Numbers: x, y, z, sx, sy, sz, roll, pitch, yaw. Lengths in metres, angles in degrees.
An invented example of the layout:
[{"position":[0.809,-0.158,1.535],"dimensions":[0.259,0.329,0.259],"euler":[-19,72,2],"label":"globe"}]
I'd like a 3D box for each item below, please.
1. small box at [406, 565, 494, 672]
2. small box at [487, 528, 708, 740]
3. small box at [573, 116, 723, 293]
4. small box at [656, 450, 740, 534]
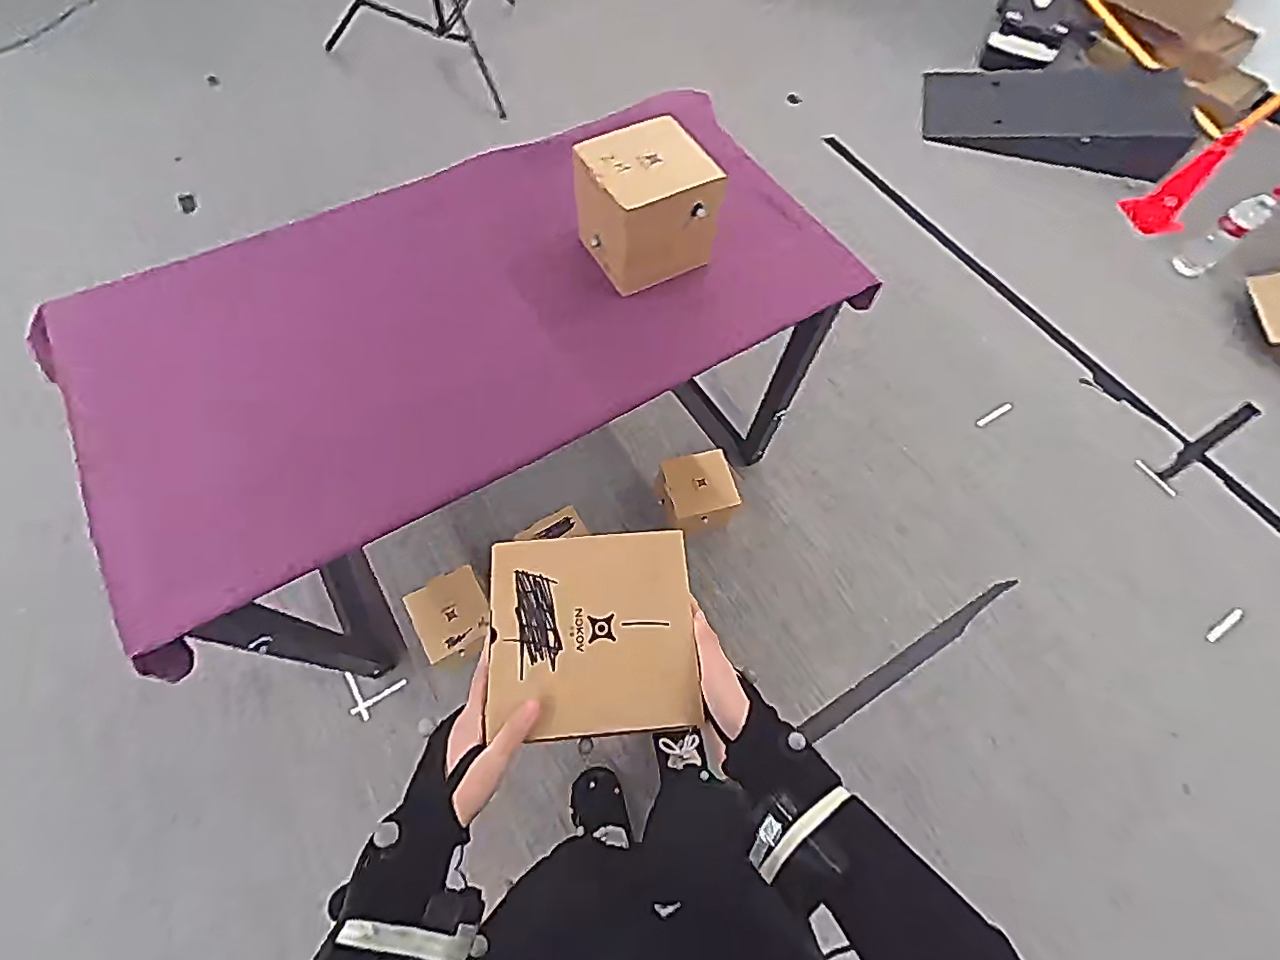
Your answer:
[{"position":[-0.432,0.337,1.301],"dimensions":[0.168,0.176,0.179],"euler":[-27,68,-15],"label":"small box"},{"position":[-0.037,0.157,0.526],"dimensions":[0.179,0.176,0.168],"euler":[-4,65,-2],"label":"small box"},{"position":[0.007,-0.442,0.881],"dimensions":[0.179,0.176,0.168],"euler":[-27,68,-14],"label":"small box"},{"position":[0.149,0.041,1.470],"dimensions":[0.179,0.176,0.168],"euler":[-13,67,-8],"label":"small box"}]
